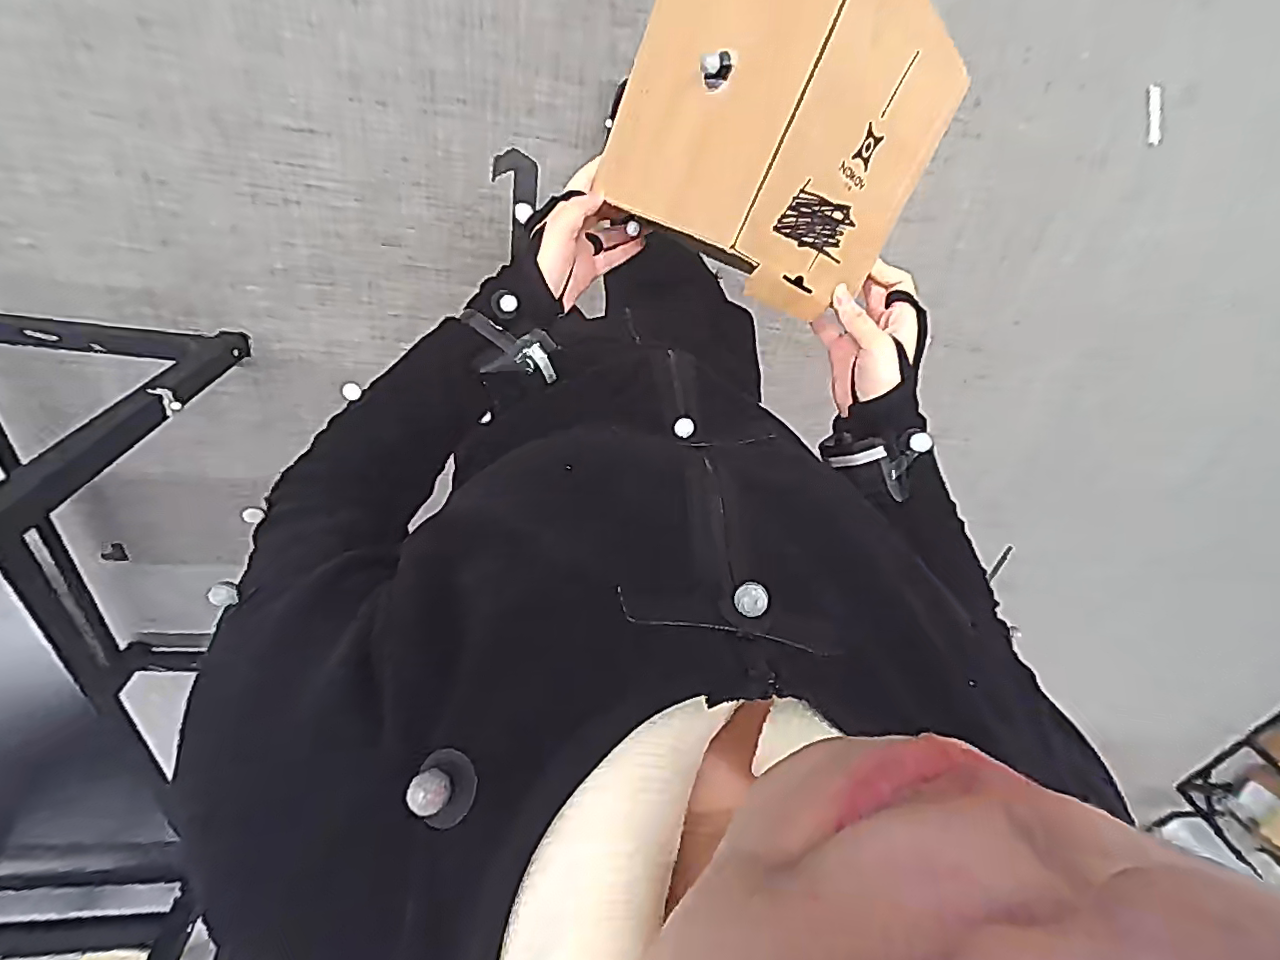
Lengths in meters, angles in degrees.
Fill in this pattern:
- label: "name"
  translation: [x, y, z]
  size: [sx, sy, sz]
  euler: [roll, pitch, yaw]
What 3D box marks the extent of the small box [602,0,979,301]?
- label: "small box"
  translation: [0.096, -0.260, 0.394]
  size: [0.168, 0.176, 0.179]
  euler: [2, 119, -46]
